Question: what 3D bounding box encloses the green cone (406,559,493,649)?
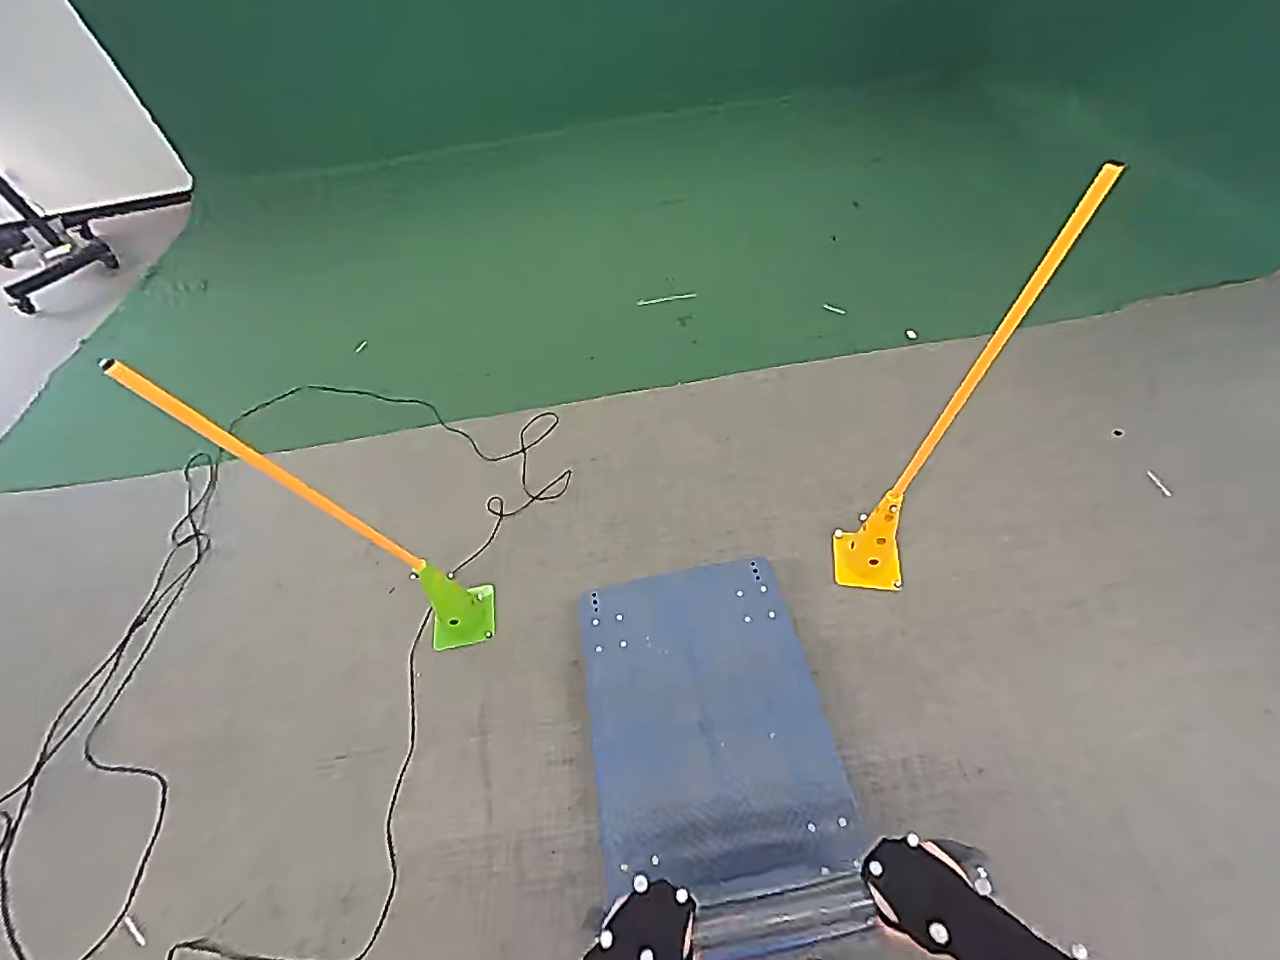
[{"bbox_3d":[-0.605,0.341,1.648,0.202,0.368,0.200,-13,51,0],"label":"green cone"}]
